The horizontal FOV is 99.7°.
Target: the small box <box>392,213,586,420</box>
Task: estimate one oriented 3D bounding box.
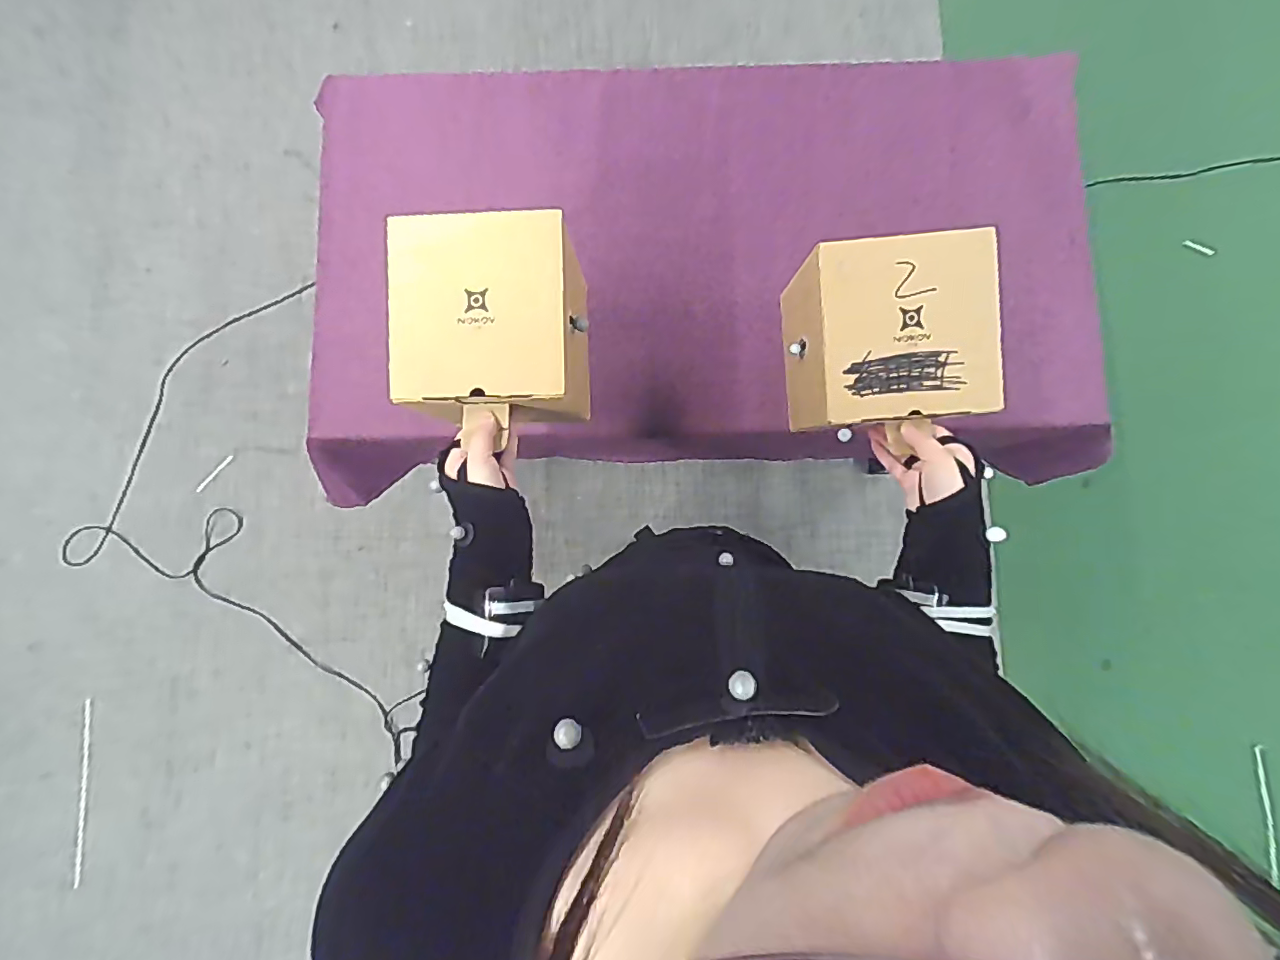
[{"bbox_3d":[-0.152,-0.165,0.593,0.168,0.176,0.179,-1,90,2],"label":"small box"}]
